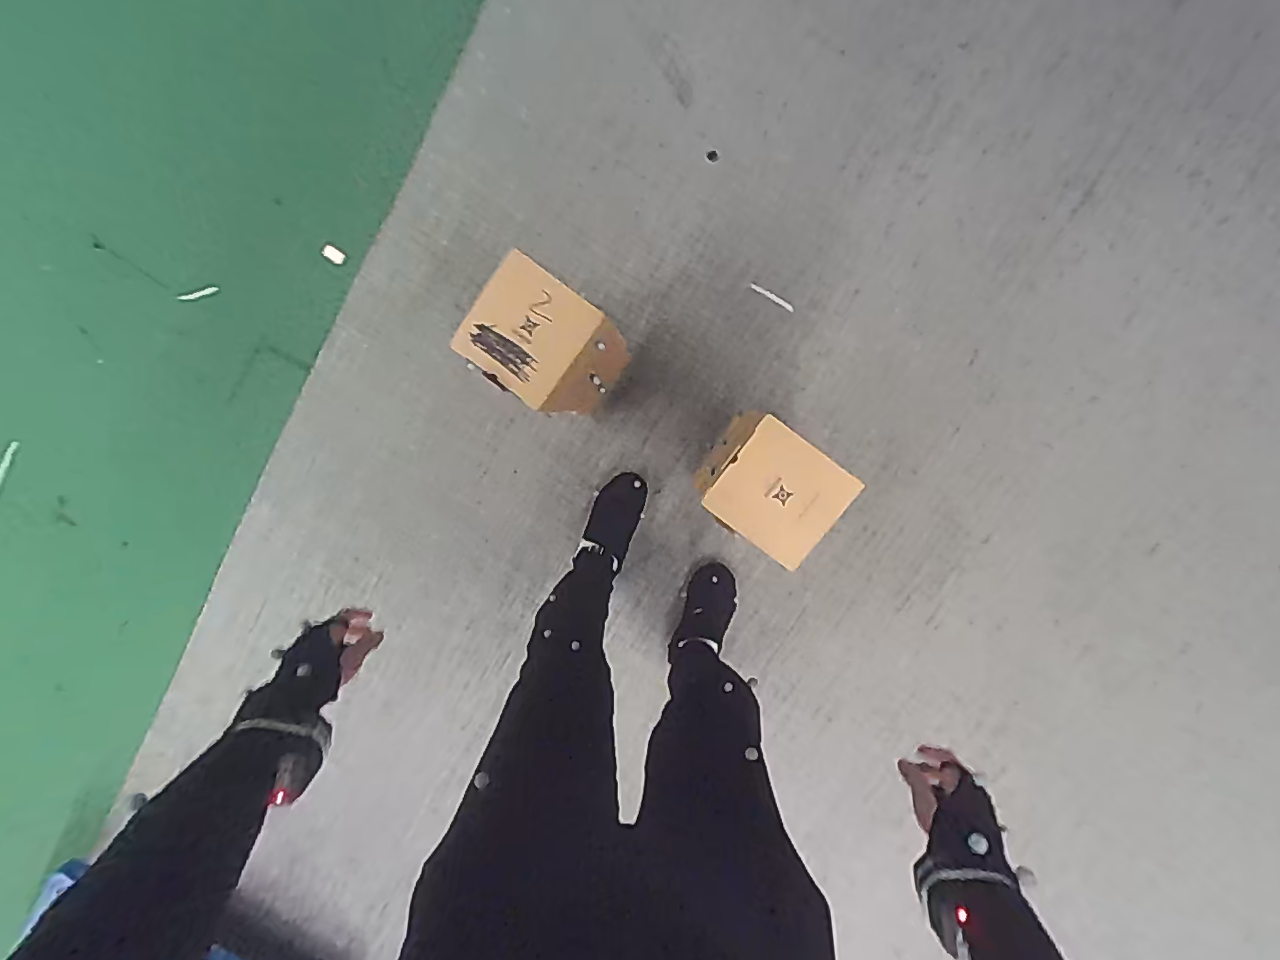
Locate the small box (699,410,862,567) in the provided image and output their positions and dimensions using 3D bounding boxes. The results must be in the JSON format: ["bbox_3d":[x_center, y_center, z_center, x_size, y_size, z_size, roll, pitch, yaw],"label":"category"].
[{"bbox_3d":[0.209,0.007,0.860,0.179,0.176,0.168,38,99,0],"label":"small box"}]

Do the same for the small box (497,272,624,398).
[{"bbox_3d":[-0.143,-0.265,1.038,0.168,0.176,0.179,-21,94,9],"label":"small box"}]

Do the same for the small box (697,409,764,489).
[{"bbox_3d":[0.219,-0.016,1.022,0.168,0.176,0.179,39,99,1],"label":"small box"}]

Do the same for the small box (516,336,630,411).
[{"bbox_3d":[-0.137,-0.267,1.193,0.168,0.176,0.179,36,98,1],"label":"small box"}]

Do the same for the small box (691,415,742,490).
[{"bbox_3d":[0.230,-0.027,1.186,0.168,0.176,0.179,34,99,1],"label":"small box"}]
